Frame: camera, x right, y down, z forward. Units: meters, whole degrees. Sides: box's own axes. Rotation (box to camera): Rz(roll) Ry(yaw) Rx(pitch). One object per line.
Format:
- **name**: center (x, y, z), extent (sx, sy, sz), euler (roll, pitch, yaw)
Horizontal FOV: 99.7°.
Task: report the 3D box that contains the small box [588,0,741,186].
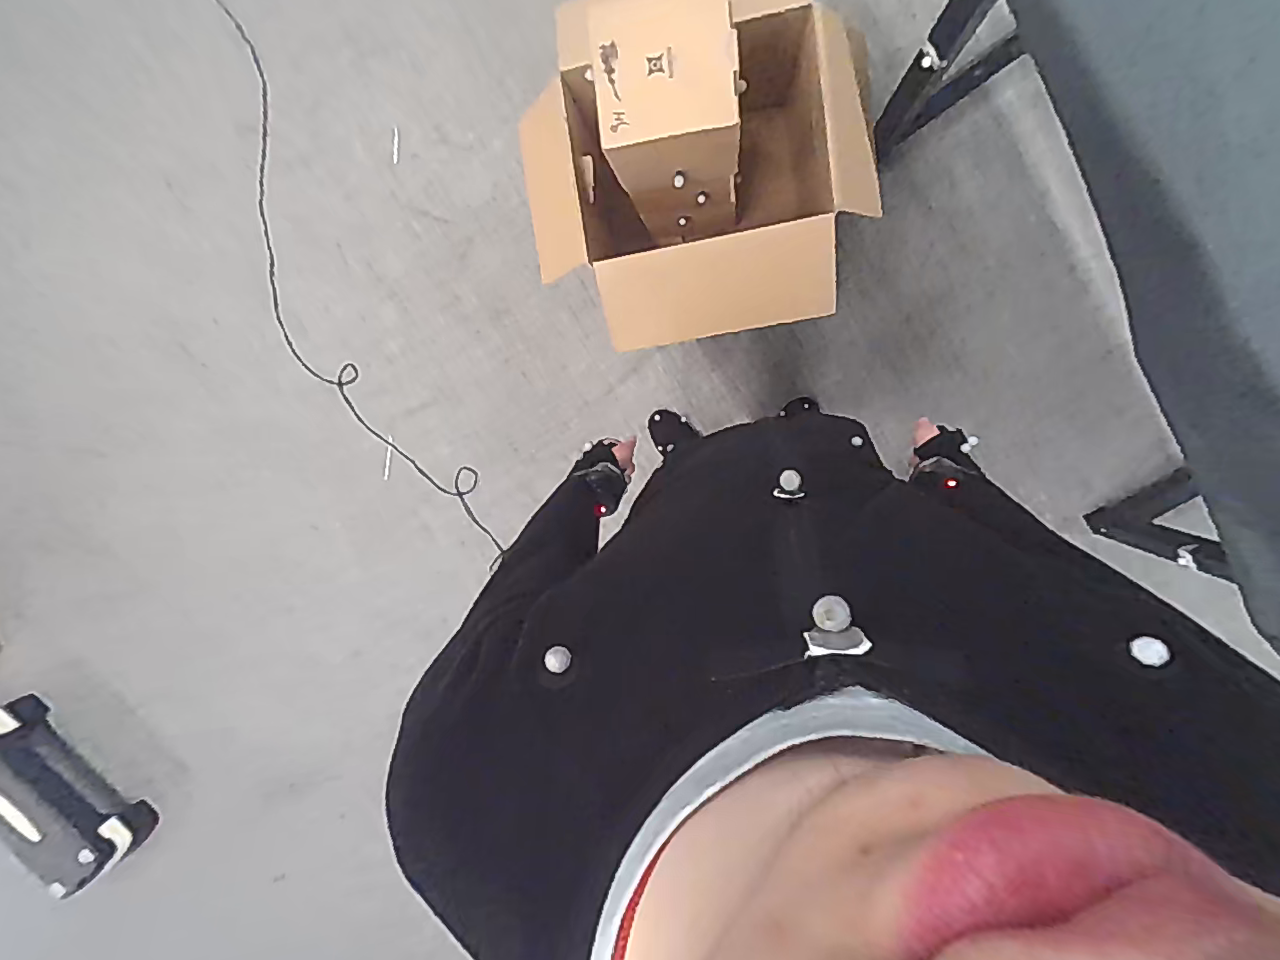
- **small box**: center (0.040, -0.522, 0.730), extent (0.179, 0.176, 0.168), euler (-4, 99, 9)
